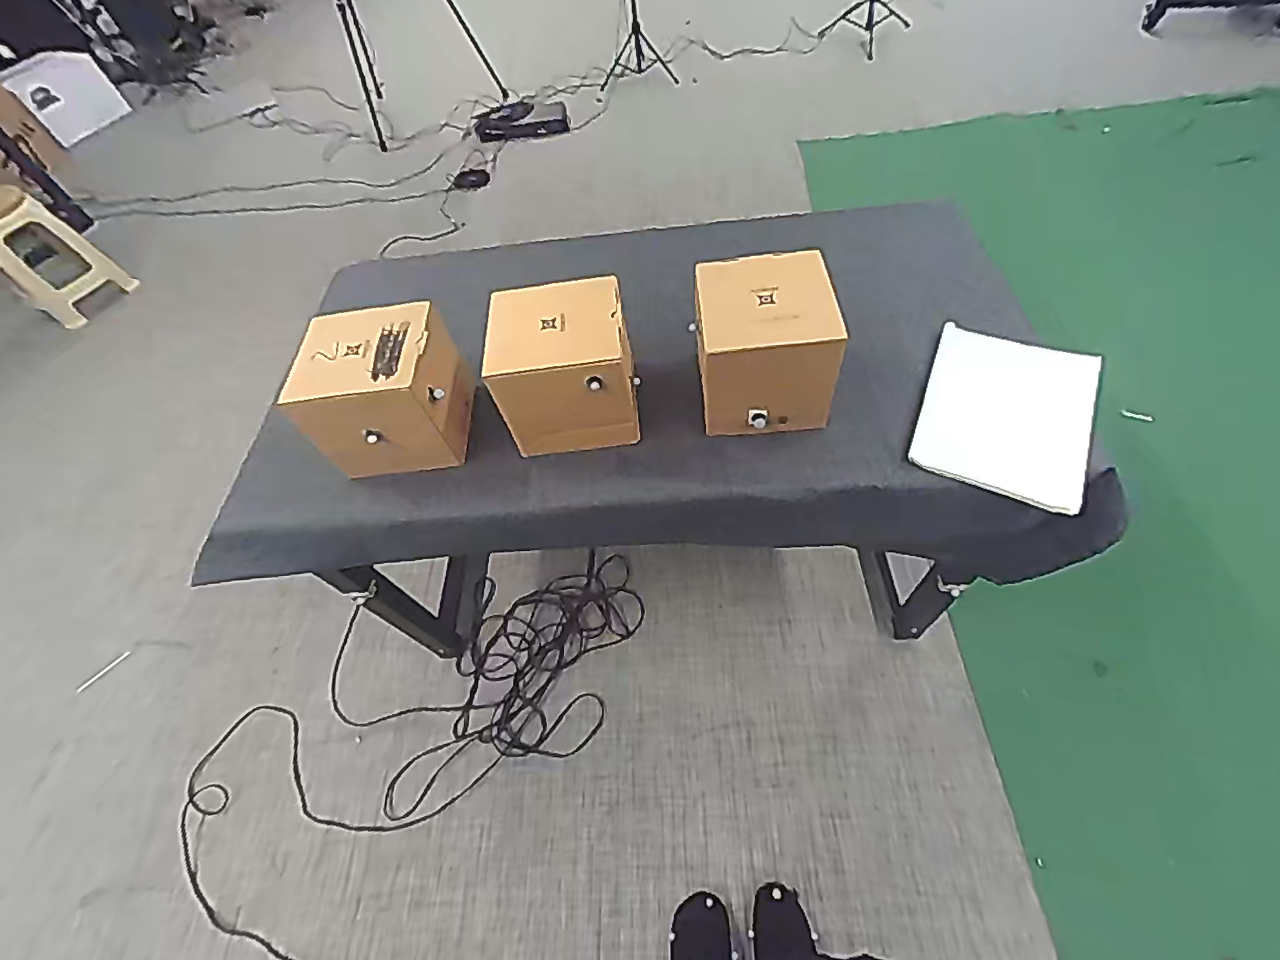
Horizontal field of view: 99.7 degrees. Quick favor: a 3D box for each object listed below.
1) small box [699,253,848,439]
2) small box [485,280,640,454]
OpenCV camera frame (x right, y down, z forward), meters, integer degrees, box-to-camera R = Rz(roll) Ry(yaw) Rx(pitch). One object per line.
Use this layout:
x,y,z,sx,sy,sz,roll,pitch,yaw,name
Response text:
0.169,-0.179,0.743,0.168,0.176,0.179,-6,56,6,small box
-0.100,-0.151,0.764,0.179,0.176,0.168,-7,55,2,small box
